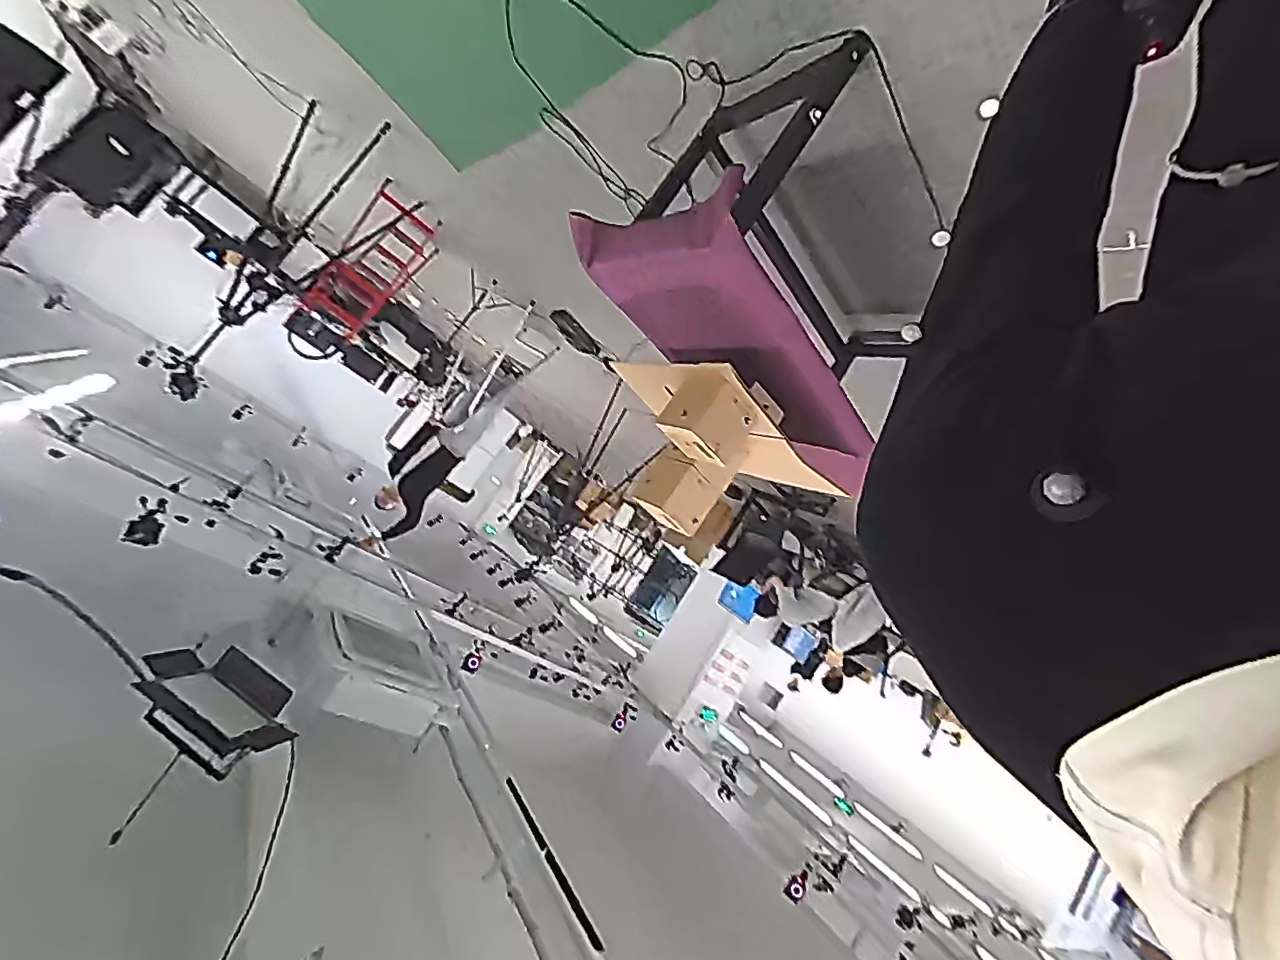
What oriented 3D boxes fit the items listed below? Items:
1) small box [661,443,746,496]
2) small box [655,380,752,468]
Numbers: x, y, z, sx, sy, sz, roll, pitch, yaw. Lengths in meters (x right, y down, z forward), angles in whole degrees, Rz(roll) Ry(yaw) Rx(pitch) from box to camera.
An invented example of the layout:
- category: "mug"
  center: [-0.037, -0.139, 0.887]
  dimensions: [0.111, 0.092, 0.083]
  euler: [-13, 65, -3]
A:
- category: "small box"
  center: [0.208, -0.076, 1.742]
  dimensions: [0.168, 0.176, 0.179]
  euler: [43, 166, -34]
- category: "small box"
  center: [0.181, -0.157, 1.482]
  dimensions: [0.168, 0.176, 0.179]
  euler: [42, 168, -33]
